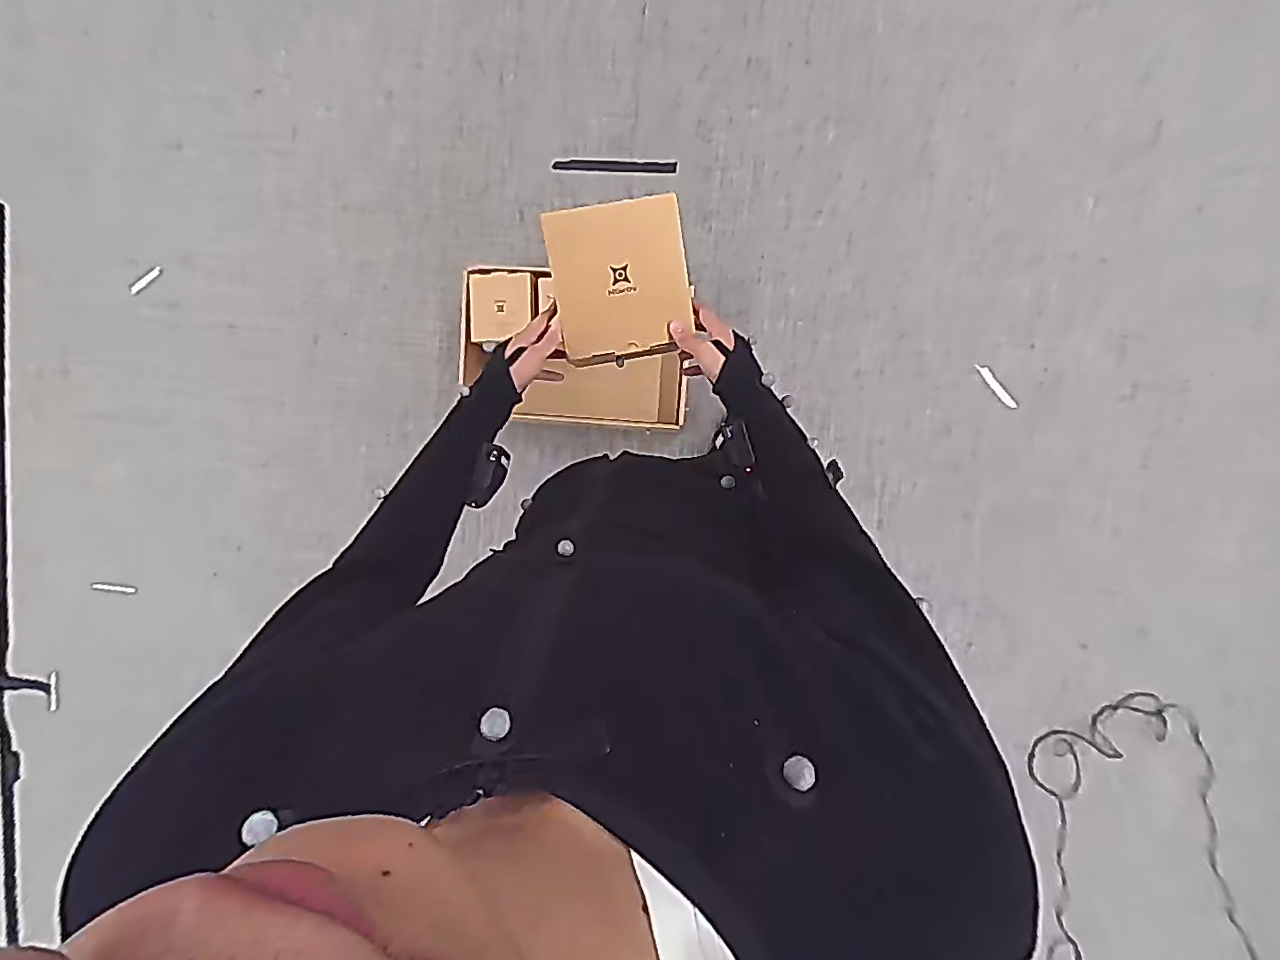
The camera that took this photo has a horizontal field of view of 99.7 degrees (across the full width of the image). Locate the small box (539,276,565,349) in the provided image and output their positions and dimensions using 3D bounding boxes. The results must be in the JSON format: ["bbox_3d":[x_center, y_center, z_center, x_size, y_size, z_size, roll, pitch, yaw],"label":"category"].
[{"bbox_3d":[-0.167,-0.451,1.467,0.179,0.176,0.168,-1,95,4],"label":"small box"}]

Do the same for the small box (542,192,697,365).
[{"bbox_3d":[-0.028,-0.256,0.725,0.168,0.176,0.179,-10,101,-1],"label":"small box"}]
